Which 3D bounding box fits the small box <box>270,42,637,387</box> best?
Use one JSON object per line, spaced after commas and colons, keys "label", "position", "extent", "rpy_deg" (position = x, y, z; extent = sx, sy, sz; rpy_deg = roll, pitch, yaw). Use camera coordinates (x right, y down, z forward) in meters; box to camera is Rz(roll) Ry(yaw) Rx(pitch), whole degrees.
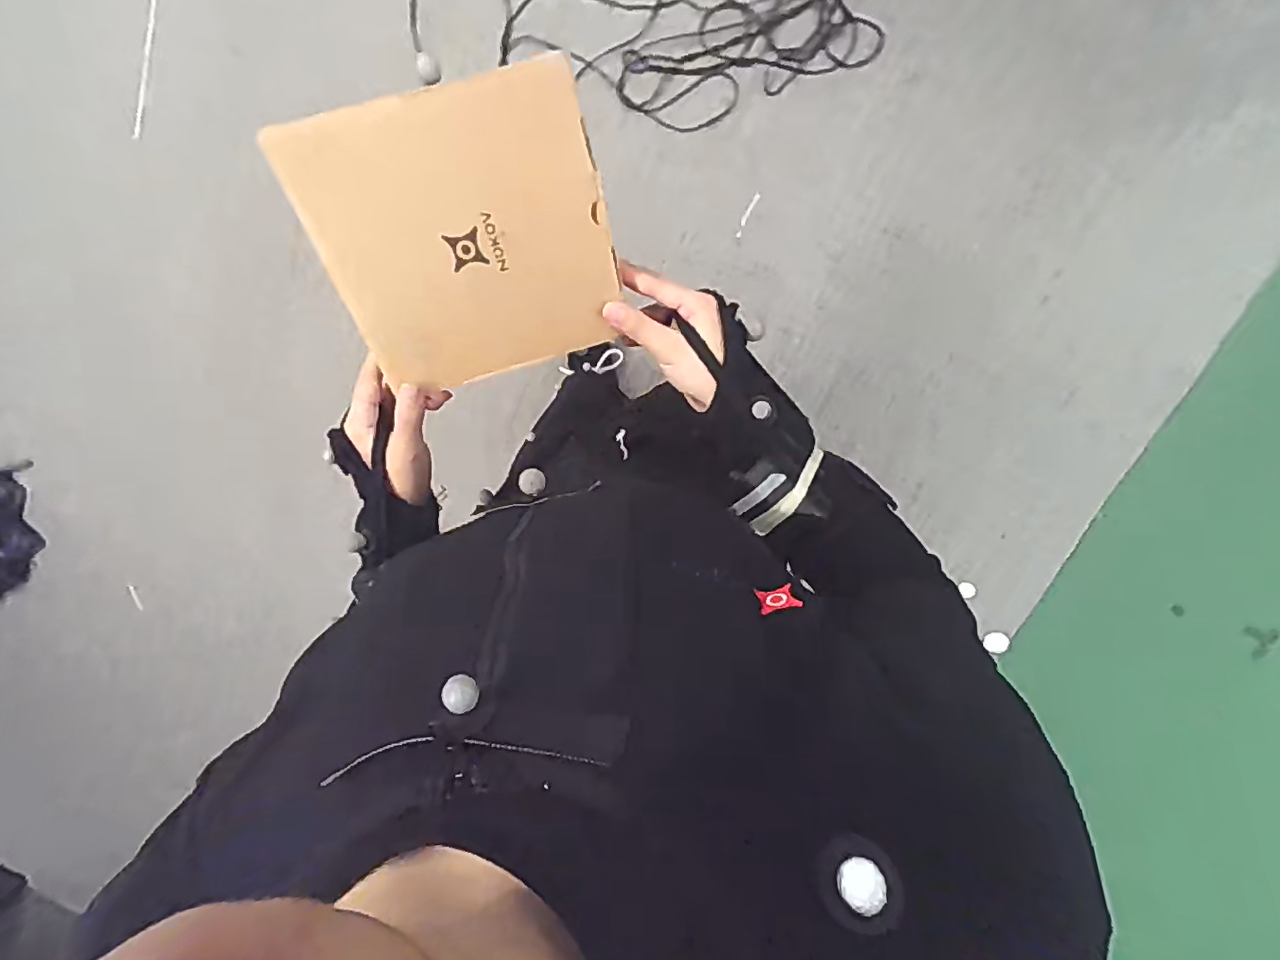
{"label": "small box", "position": [-0.115, -0.193, 0.399], "extent": [0.179, 0.176, 0.168], "rpy_deg": [-17, 126, -5]}
